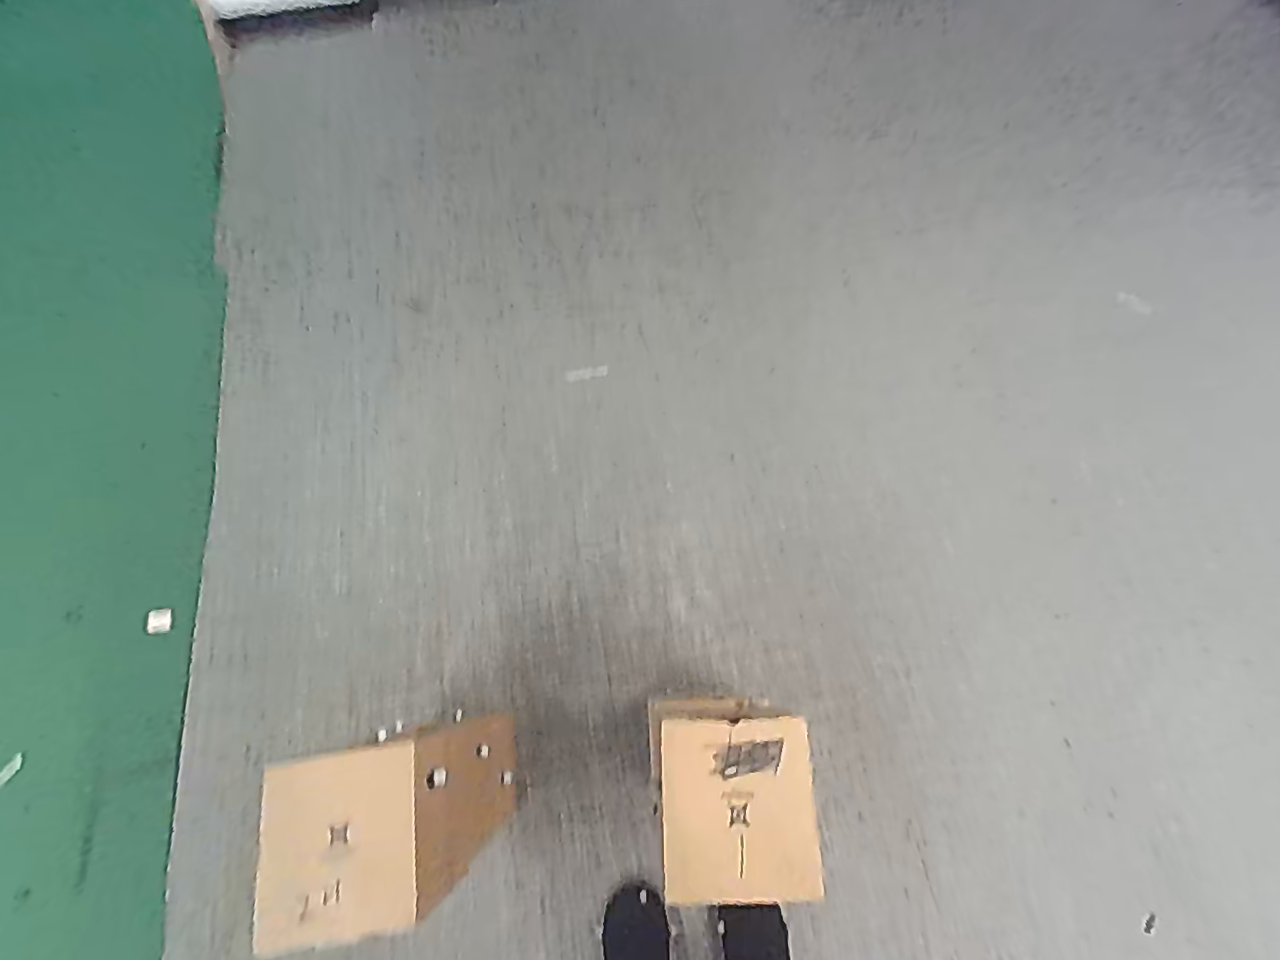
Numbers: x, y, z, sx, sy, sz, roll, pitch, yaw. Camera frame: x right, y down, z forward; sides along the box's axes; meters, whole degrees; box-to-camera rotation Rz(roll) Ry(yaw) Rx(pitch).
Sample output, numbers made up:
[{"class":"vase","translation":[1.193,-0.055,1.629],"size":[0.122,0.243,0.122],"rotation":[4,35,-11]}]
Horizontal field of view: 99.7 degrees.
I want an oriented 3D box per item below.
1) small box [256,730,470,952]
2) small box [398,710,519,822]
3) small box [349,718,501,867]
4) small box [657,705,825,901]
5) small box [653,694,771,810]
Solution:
[{"class":"small box","translation":[-0.310,0.404,0.642],"size":[0.168,0.176,0.179],"rotation":[-10,70,-1]},{"class":"small box","translation":[-0.312,0.512,0.951],"size":[0.168,0.176,0.179],"rotation":[-6,71,-2]},{"class":"small box","translation":[-0.311,0.458,0.798],"size":[0.168,0.176,0.179],"rotation":[-10,71,-2]},{"class":"small box","translation":[0.106,0.370,0.651],"size":[0.168,0.176,0.179],"rotation":[-1,72,0]},{"class":"small box","translation":[0.106,0.417,0.808],"size":[0.168,0.176,0.179],"rotation":[-3,71,0]}]
